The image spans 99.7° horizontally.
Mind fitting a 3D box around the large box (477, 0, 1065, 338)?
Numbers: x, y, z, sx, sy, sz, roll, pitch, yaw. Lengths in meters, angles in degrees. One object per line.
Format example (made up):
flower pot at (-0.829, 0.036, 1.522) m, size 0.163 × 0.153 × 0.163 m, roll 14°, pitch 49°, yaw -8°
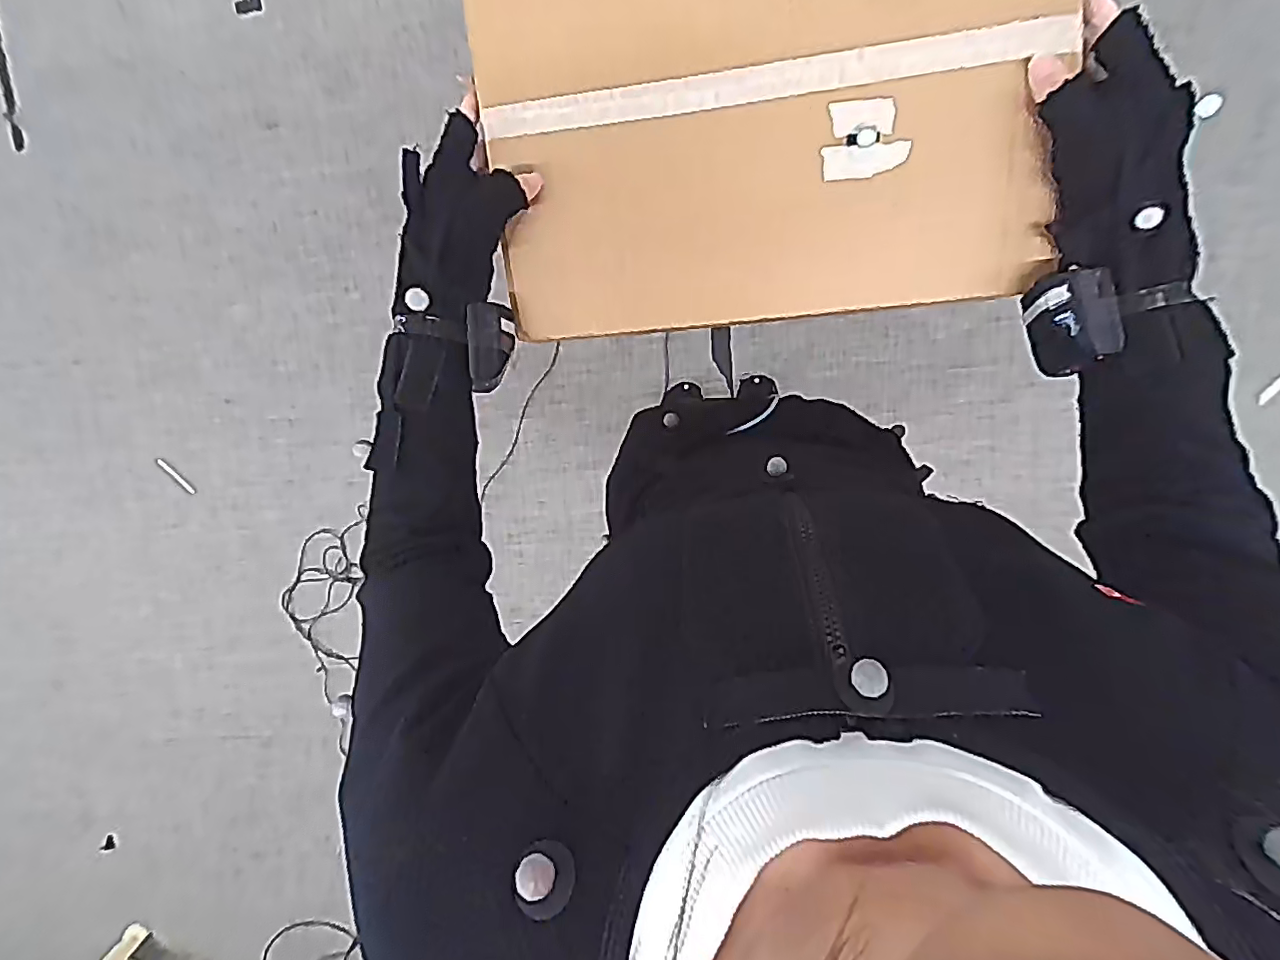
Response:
large box at (0.100, -0.321, 0.531) m, size 0.408 × 0.320 × 0.320 m, roll -4°, pitch 106°, yaw 7°
